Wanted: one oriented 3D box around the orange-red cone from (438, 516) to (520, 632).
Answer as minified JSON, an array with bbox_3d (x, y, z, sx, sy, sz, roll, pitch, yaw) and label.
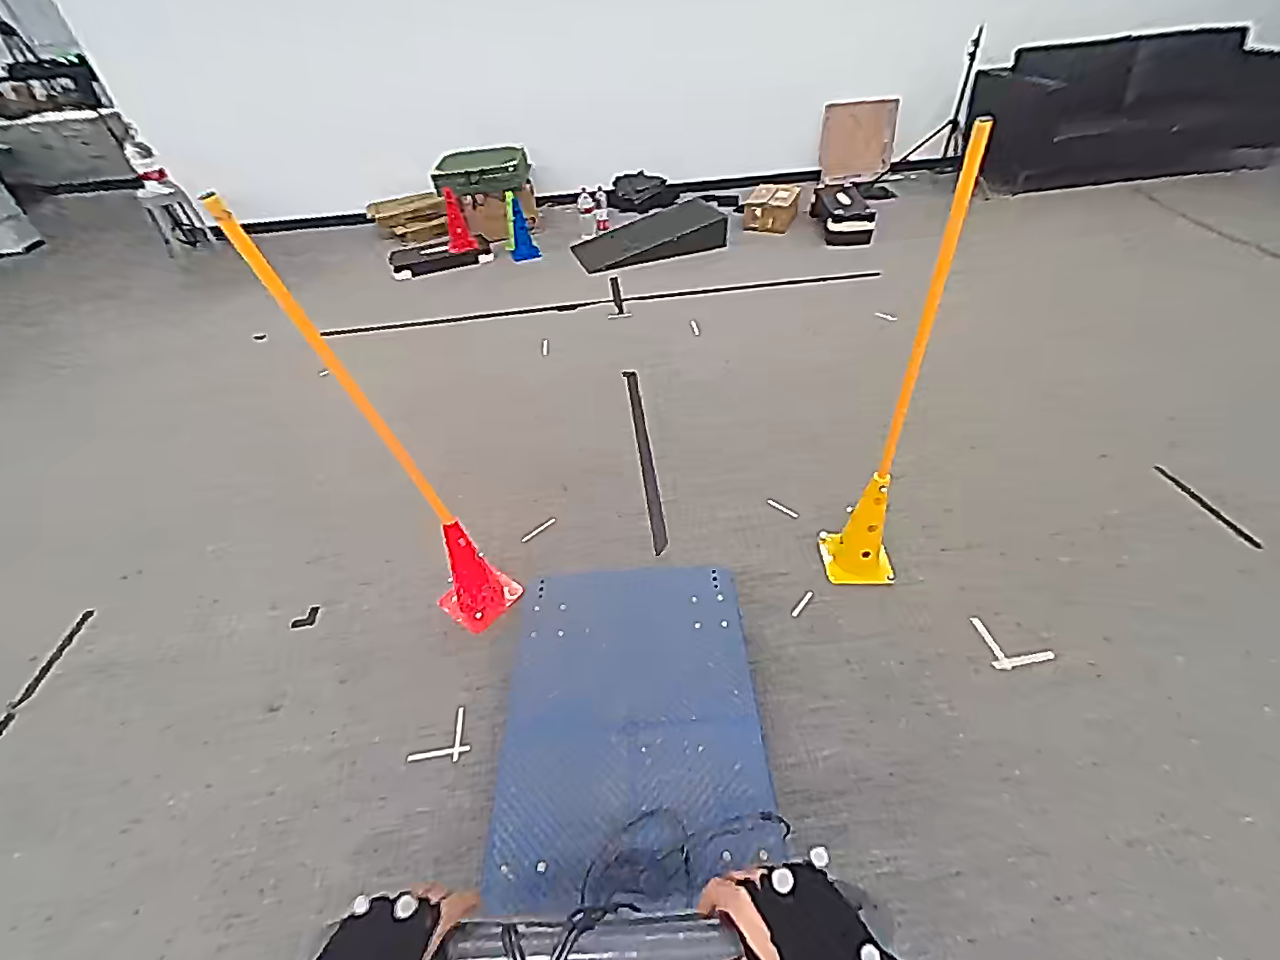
[{"bbox_3d":[-0.504,0.237,1.566,0.198,0.360,0.199,27,50,28],"label":"orange-red cone"}]
